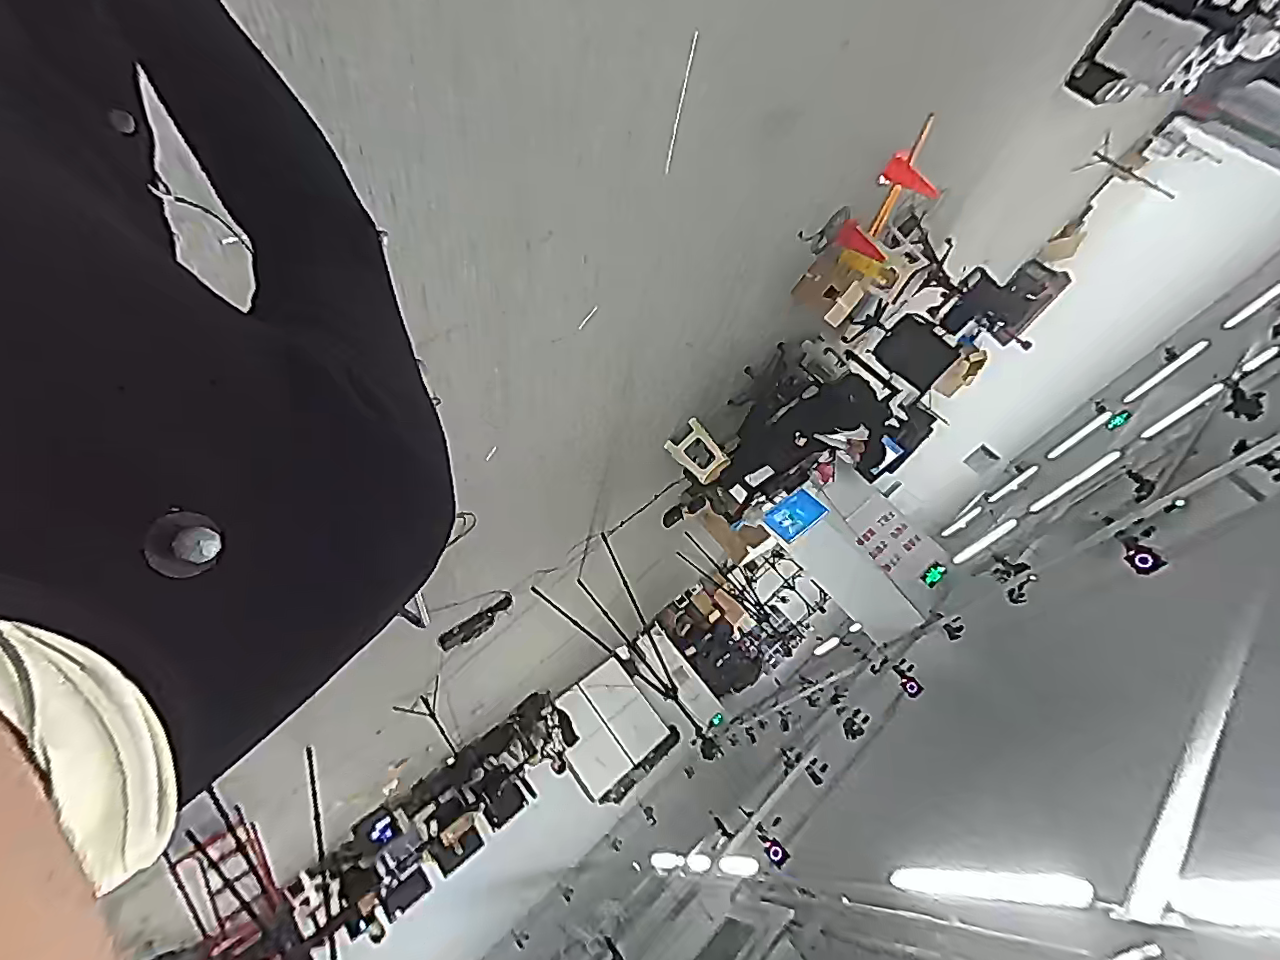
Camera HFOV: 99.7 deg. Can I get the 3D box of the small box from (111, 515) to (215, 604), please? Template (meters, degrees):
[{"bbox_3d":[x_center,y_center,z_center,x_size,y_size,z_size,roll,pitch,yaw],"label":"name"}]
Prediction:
[{"bbox_3d":[-1.441,0.236,1.638,0.168,0.176,0.179,-30,157,-33],"label":"small box"}]
